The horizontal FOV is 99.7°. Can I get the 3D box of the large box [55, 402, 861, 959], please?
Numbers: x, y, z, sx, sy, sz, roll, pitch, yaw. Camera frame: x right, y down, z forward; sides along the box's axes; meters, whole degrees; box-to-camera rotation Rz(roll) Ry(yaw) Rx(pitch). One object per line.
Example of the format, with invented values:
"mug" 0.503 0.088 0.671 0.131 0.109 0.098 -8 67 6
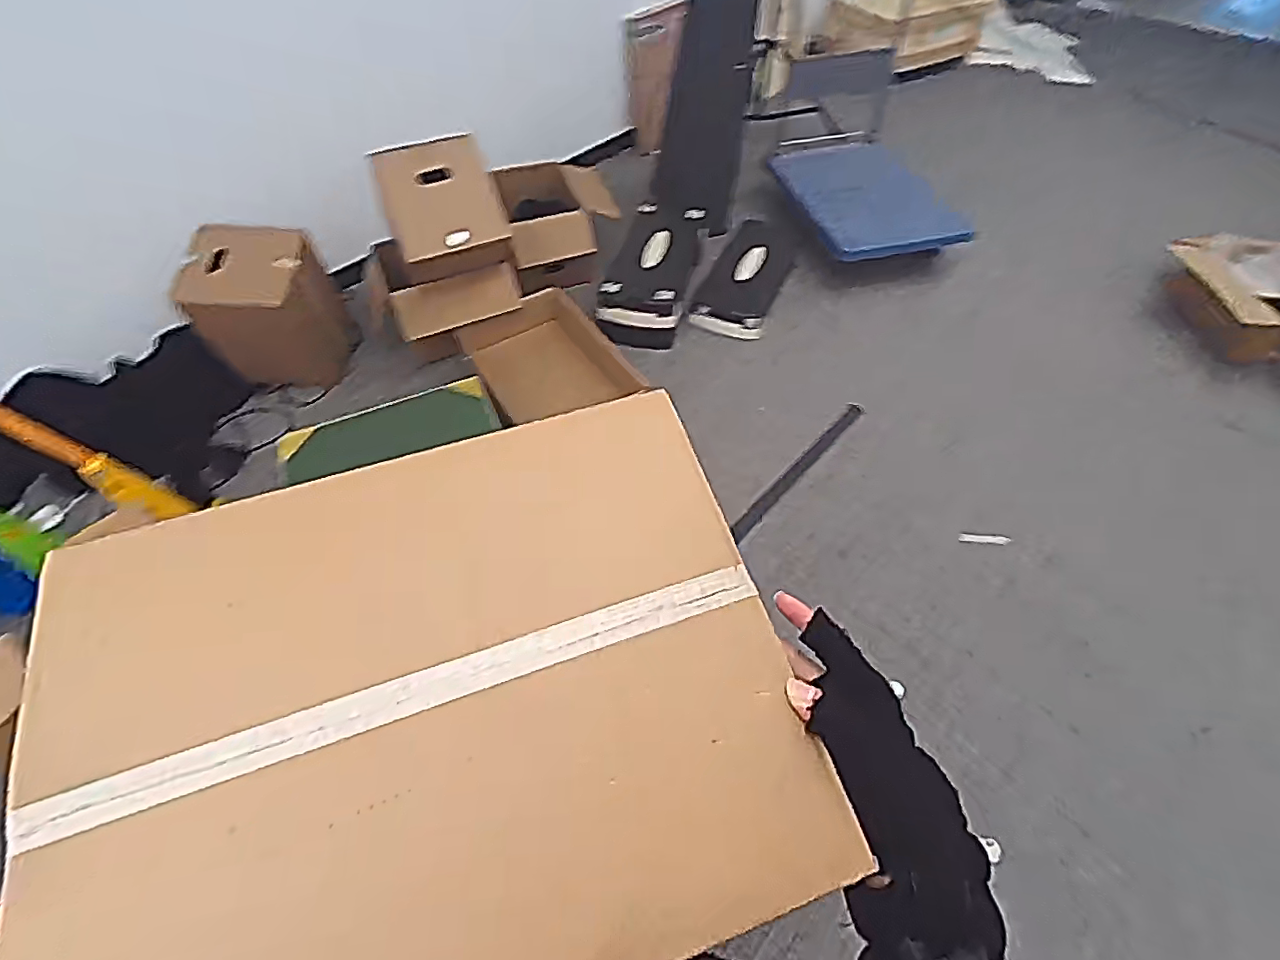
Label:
"large box" -0.117 0.190 0.452 0.408 0.320 0.320 -16 66 -9
